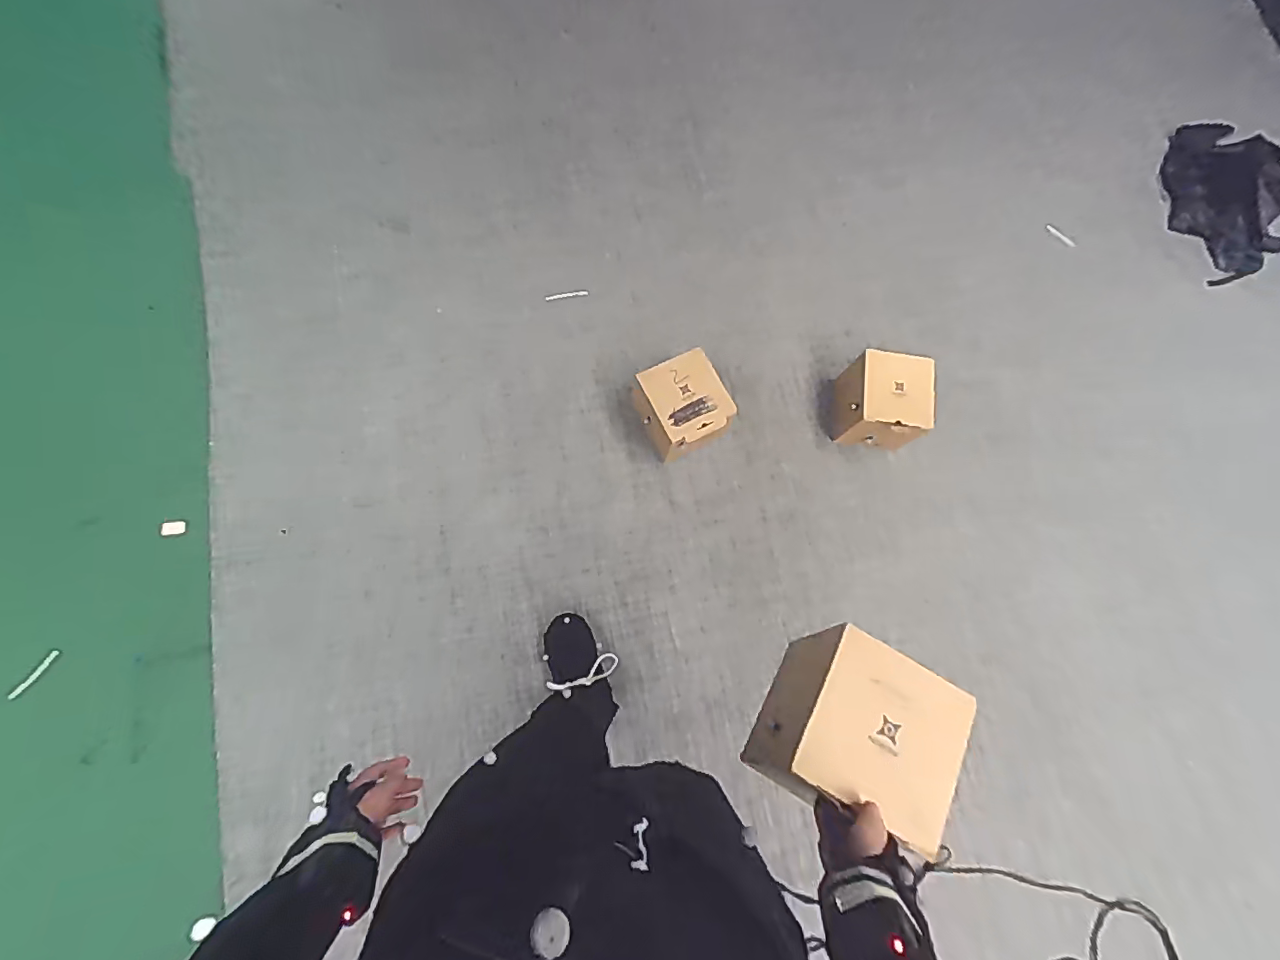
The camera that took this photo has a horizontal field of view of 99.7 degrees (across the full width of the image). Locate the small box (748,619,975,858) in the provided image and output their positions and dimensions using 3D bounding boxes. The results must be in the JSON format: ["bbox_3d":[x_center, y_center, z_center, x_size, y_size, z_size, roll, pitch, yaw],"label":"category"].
[{"bbox_3d":[0.246,0.294,0.639,0.168,0.176,0.179,31,65,4],"label":"small box"}]

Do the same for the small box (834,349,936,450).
[{"bbox_3d":[0.577,-0.186,1.290,0.168,0.176,0.179,8,77,-3],"label":"small box"}]
